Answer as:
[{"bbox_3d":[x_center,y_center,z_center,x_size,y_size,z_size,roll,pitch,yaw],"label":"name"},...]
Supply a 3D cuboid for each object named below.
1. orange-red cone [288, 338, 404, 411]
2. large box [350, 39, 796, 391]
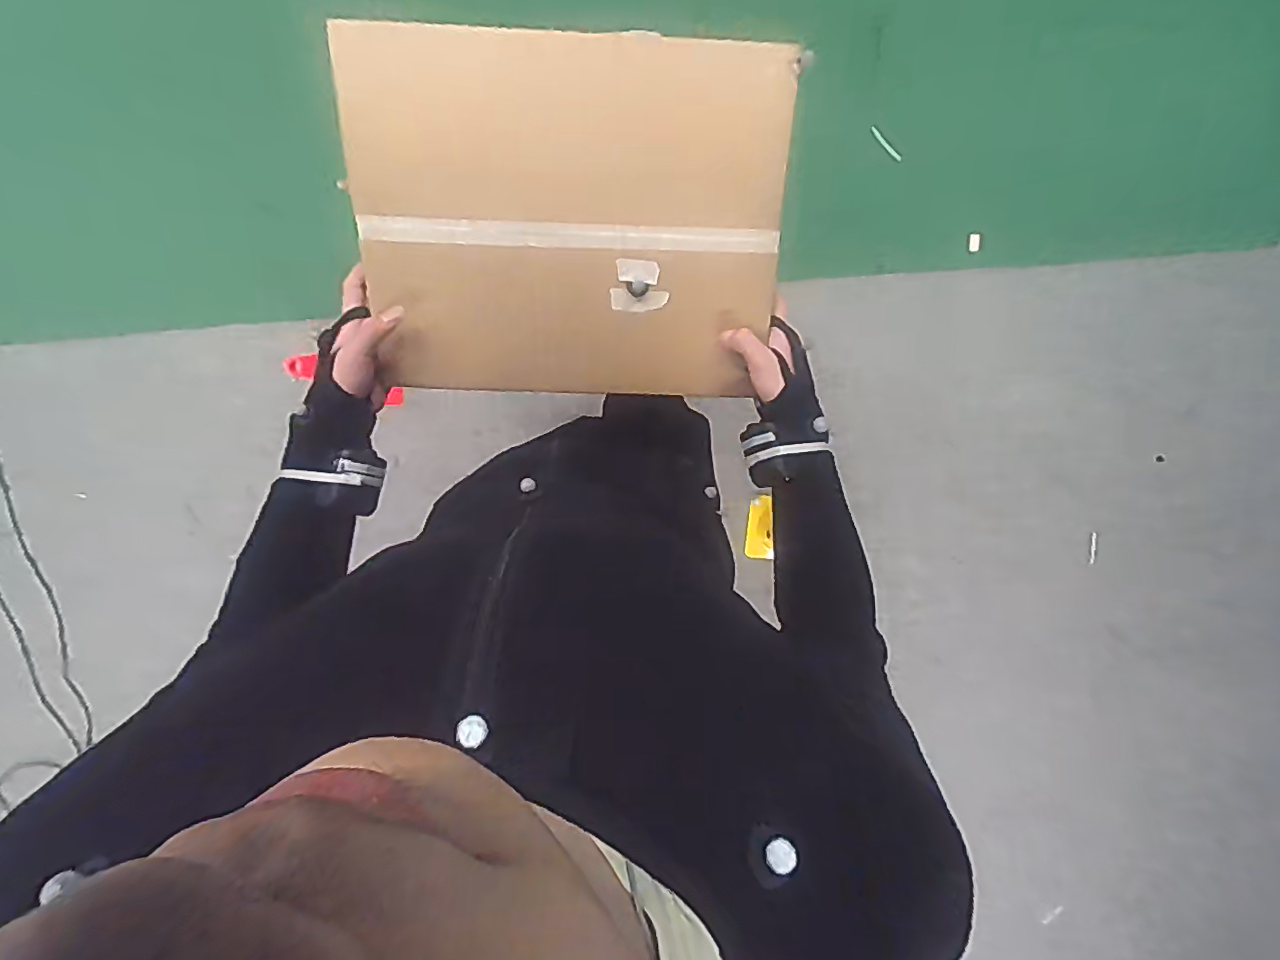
[{"bbox_3d":[-0.766,-0.270,1.366,0.199,0.360,0.198,3,99,-1],"label":"orange-red cone"},{"bbox_3d":[-0.066,-0.298,0.672,0.408,0.320,0.320,0,114,-3],"label":"large box"}]
